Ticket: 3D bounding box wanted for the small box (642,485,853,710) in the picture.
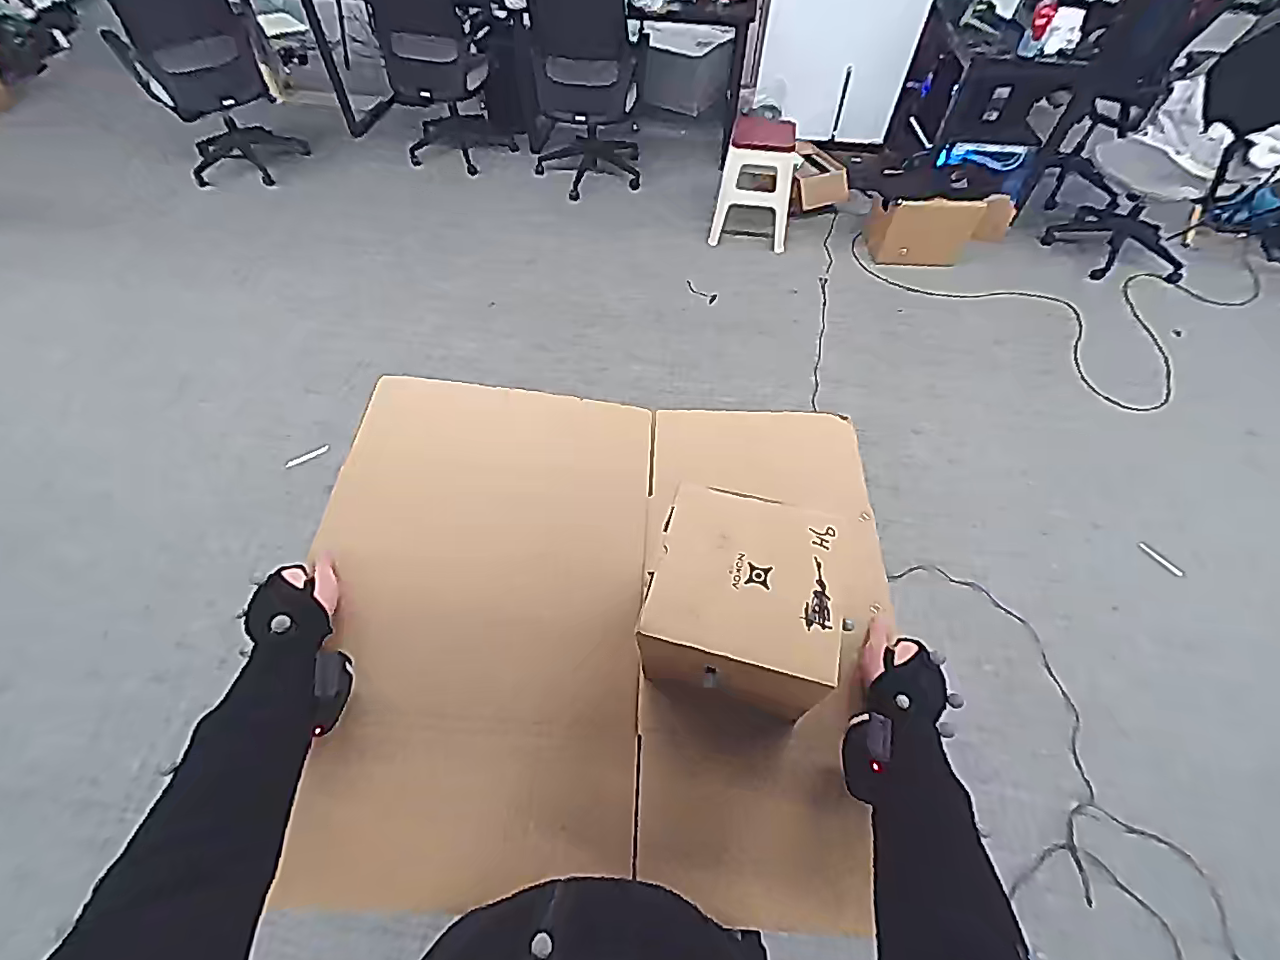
[{"bbox_3d":[0.112,0.131,0.581,0.179,0.176,0.168,12,59,12],"label":"small box"}]
